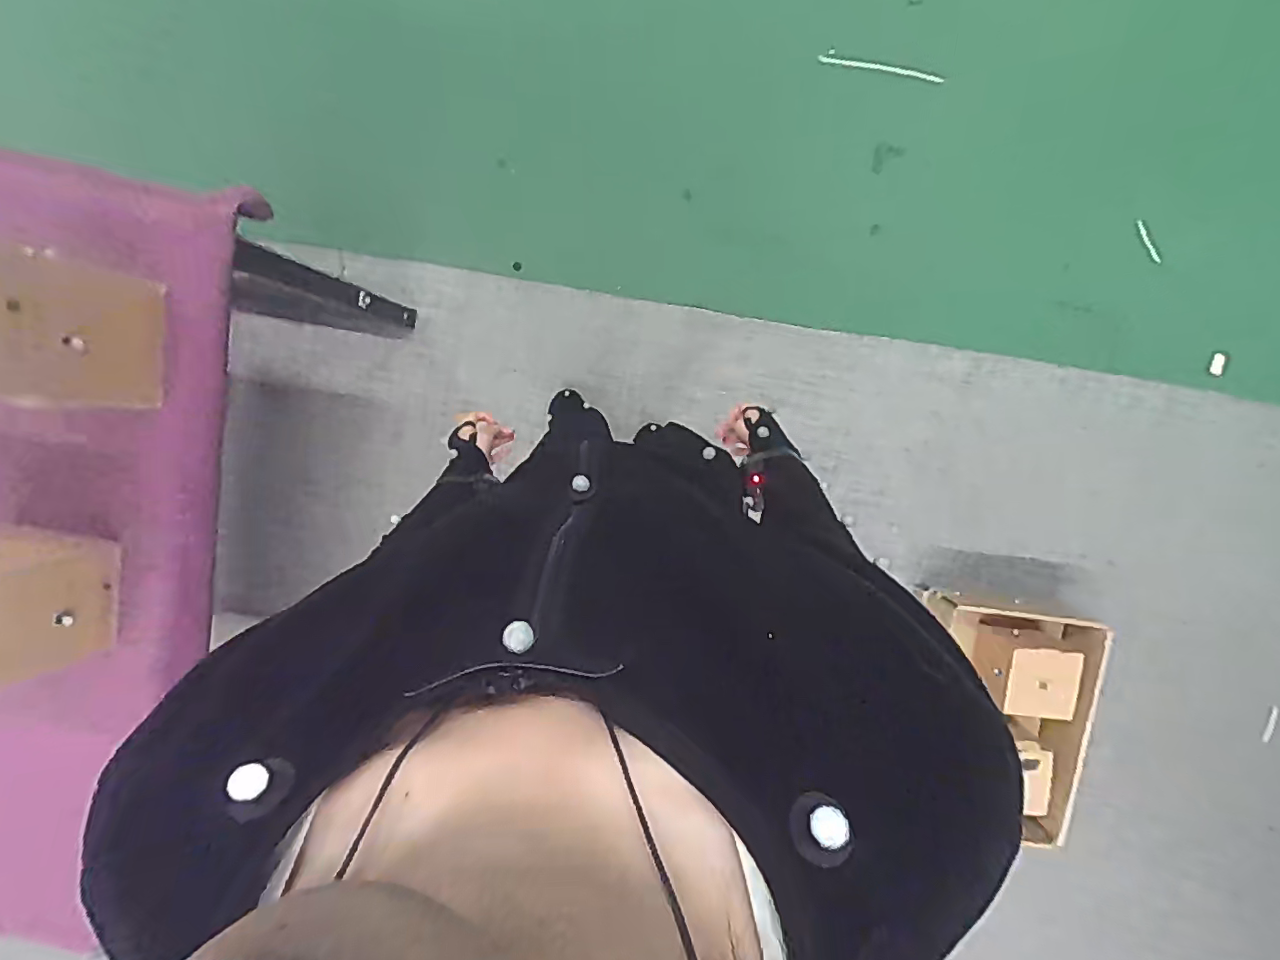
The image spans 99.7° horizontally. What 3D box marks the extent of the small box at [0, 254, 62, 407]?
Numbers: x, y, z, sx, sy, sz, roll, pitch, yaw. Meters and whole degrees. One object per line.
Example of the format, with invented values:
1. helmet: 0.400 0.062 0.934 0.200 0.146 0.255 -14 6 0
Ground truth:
1. small box: -0.761 -0.165 0.549 0.179 0.176 0.168 9 99 2

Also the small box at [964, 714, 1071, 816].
1. small box: 0.976 0.736 1.412 0.168 0.176 0.179 1 96 4

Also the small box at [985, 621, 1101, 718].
1. small box: 1.016 0.475 1.379 0.168 0.176 0.179 4 98 5
